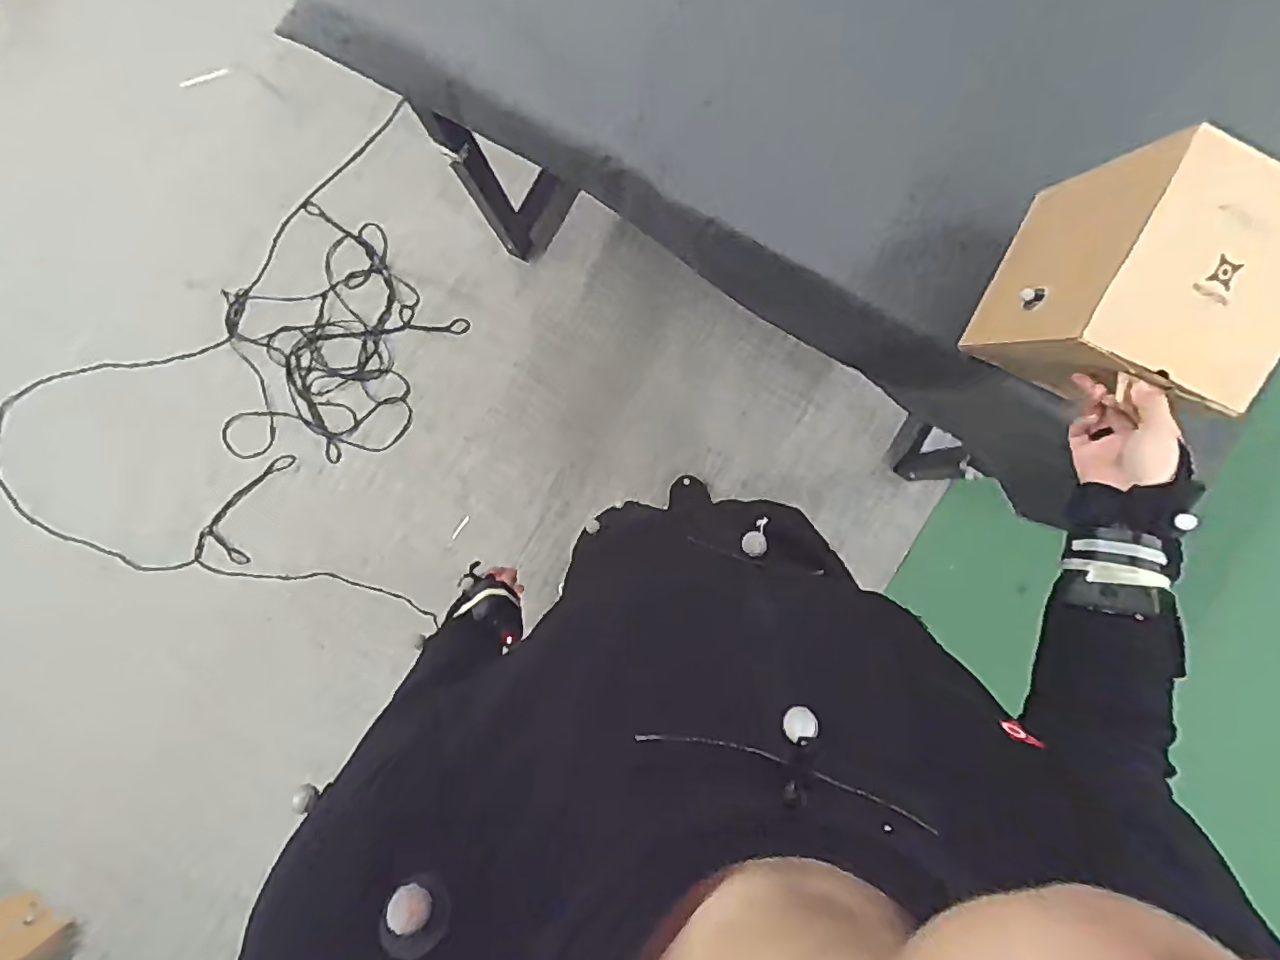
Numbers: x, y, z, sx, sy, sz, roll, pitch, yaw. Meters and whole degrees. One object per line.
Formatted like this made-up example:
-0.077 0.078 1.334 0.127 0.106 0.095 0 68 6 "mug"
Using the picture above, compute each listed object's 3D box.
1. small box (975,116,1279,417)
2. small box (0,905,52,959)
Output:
0.452 -0.173 0.493 0.168 0.176 0.179 22 100 -6 "small box"
-1.607 1.199 1.306 0.168 0.176 0.179 29 89 3 "small box"
